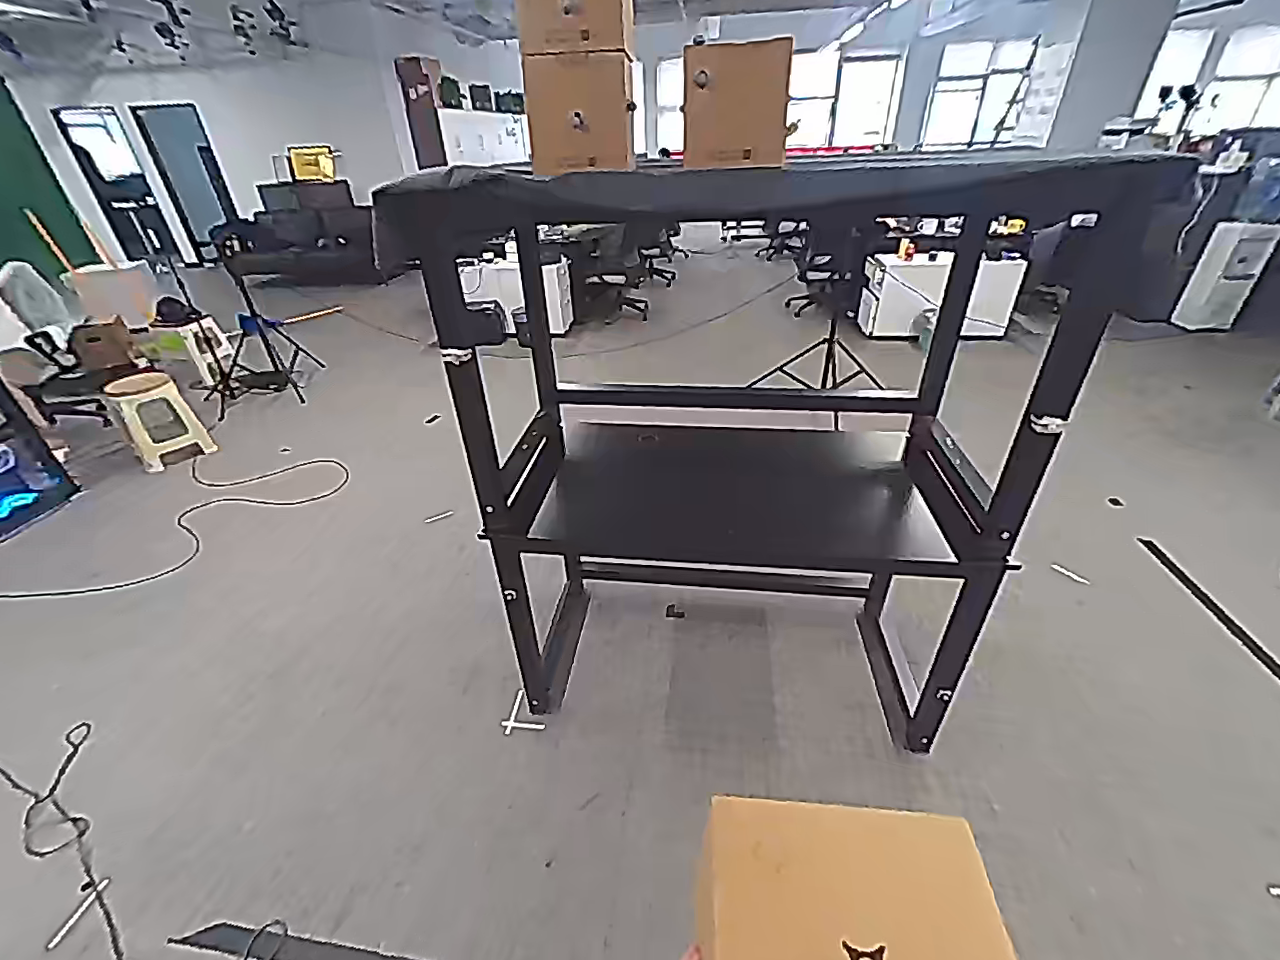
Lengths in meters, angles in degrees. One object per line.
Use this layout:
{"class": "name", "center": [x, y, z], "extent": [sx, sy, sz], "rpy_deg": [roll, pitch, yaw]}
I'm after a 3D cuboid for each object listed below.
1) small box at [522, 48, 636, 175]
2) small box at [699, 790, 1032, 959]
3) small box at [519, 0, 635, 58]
{"class": "small box", "center": [-0.095, -0.632, 0.942], "extent": [0.168, 0.176, 0.179], "rpy_deg": [1, 32, 3]}
{"class": "small box", "center": [0.124, 0.323, 0.328], "extent": [0.168, 0.176, 0.179], "rpy_deg": [3, 38, 4]}
{"class": "small box", "center": [-0.097, -0.774, 0.857], "extent": [0.168, 0.176, 0.179], "rpy_deg": [0, 32, 5]}
